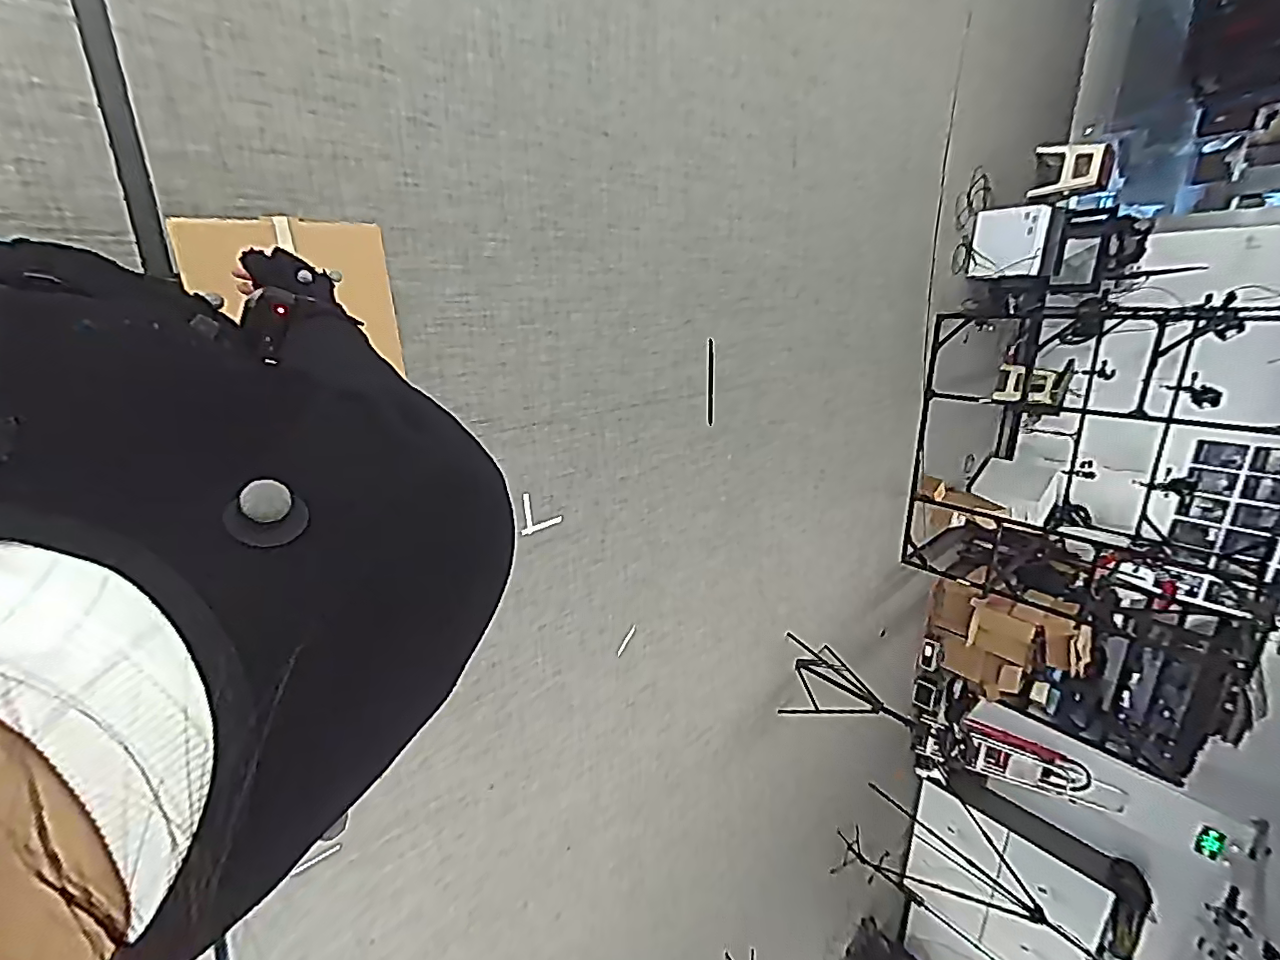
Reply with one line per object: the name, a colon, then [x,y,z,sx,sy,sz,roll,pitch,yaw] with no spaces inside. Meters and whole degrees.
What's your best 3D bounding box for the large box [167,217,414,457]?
large box: [-0.692,-0.301,1.101,0.320,0.320,0.408,-15,115,-32]
